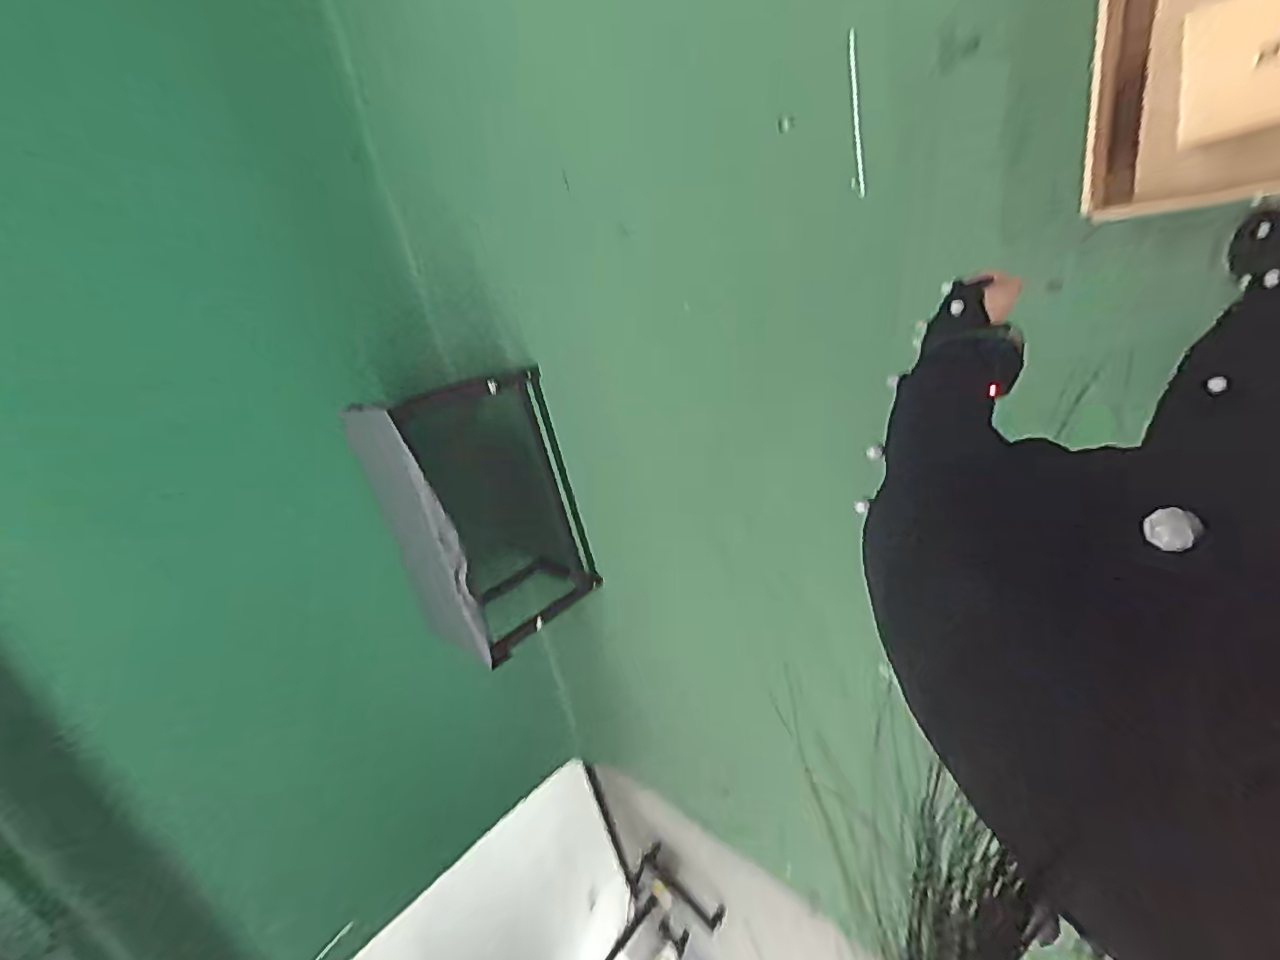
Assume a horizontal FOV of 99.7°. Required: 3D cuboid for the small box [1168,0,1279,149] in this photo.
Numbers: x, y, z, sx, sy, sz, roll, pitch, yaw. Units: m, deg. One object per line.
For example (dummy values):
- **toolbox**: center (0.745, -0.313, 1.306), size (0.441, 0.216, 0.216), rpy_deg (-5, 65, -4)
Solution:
- **small box**: center (0.860, -0.576, 0.745), size (0.179, 0.176, 0.168), rpy_deg (4, 114, 46)
